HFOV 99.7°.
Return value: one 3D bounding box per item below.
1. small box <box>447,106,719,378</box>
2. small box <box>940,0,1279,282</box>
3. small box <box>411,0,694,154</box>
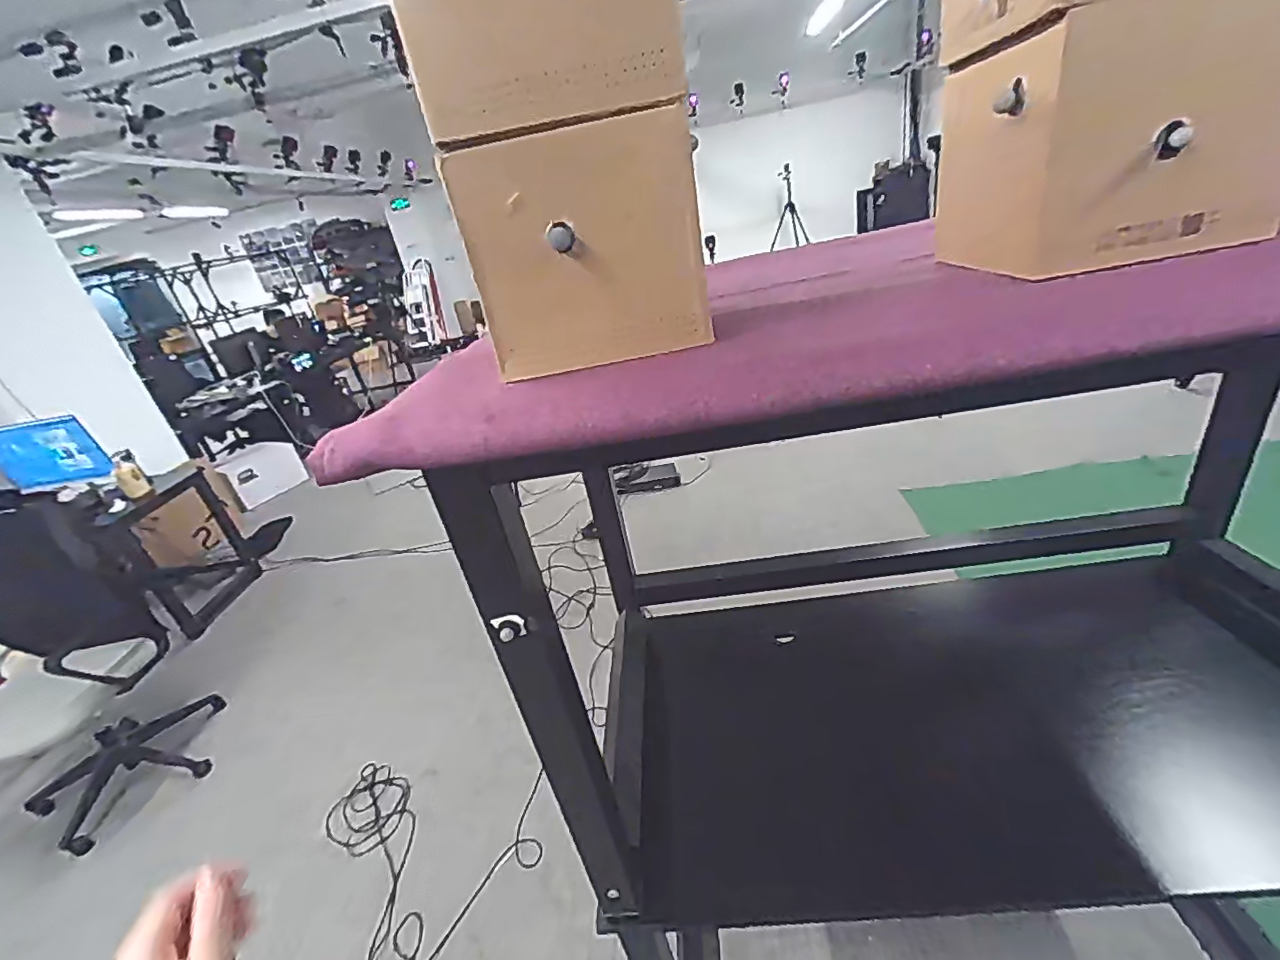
[{"bbox_3d":[-0.038,-0.199,0.475,0.179,0.176,0.168,-11,28,2],"label":"small box"},{"bbox_3d":[0.372,-0.269,0.448,0.168,0.176,0.179,-7,26,7],"label":"small box"},{"bbox_3d":[-0.066,-0.344,0.400,0.179,0.176,0.168,-10,27,0],"label":"small box"}]
